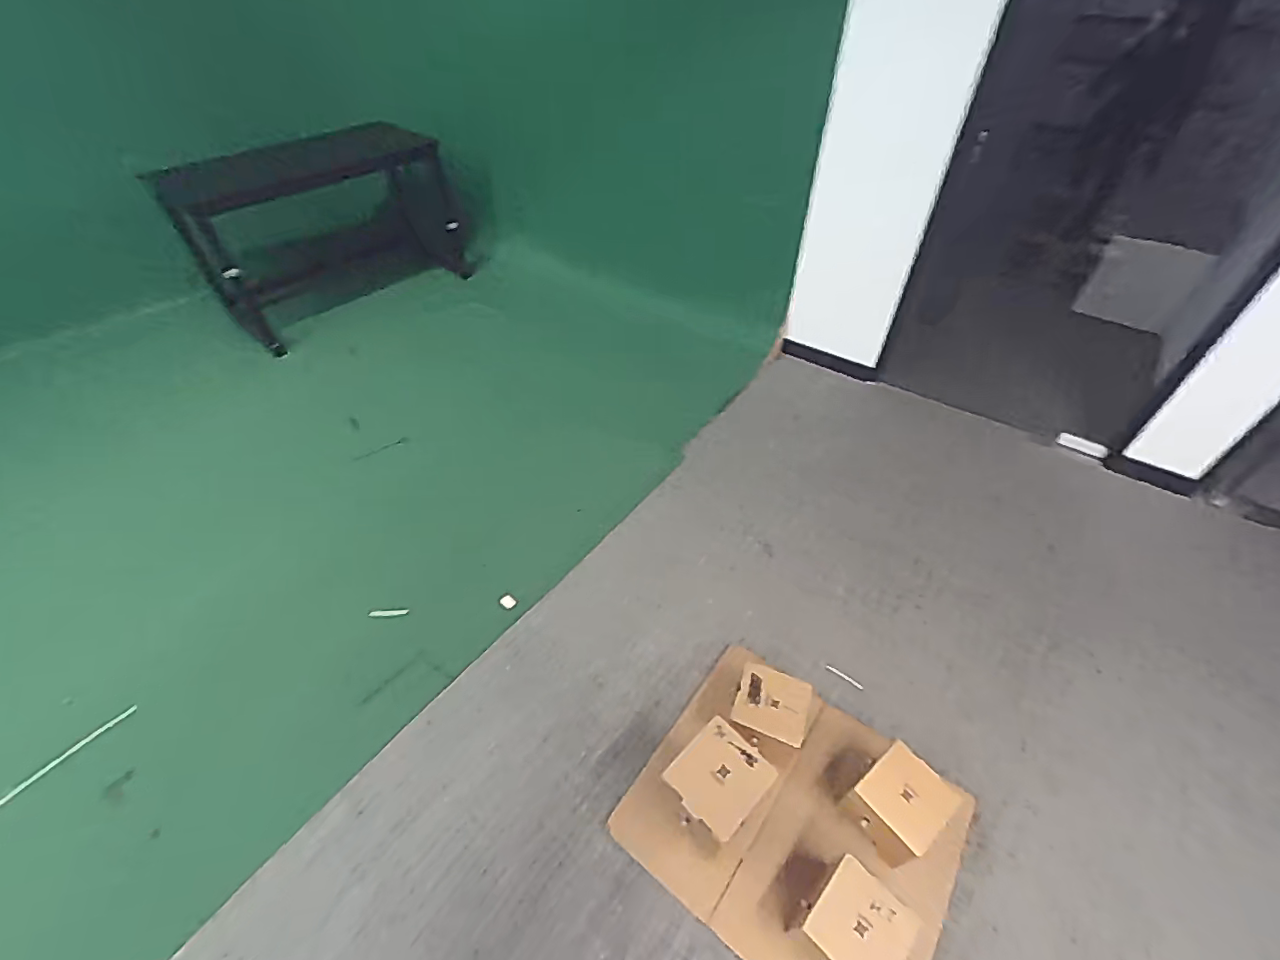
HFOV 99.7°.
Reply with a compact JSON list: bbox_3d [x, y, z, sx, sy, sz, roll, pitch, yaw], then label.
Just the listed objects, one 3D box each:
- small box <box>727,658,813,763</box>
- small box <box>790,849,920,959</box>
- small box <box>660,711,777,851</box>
[{"bbox_3d":[0.324,0.594,1.387,0.179,0.176,0.168,18,49,15],"label":"small box"},{"bbox_3d":[0.421,0.899,1.088,0.179,0.176,0.168,-35,56,-30],"label":"small box"},{"bbox_3d":[0.157,0.628,1.126,0.179,0.176,0.168,-34,56,-28],"label":"small box"}]
